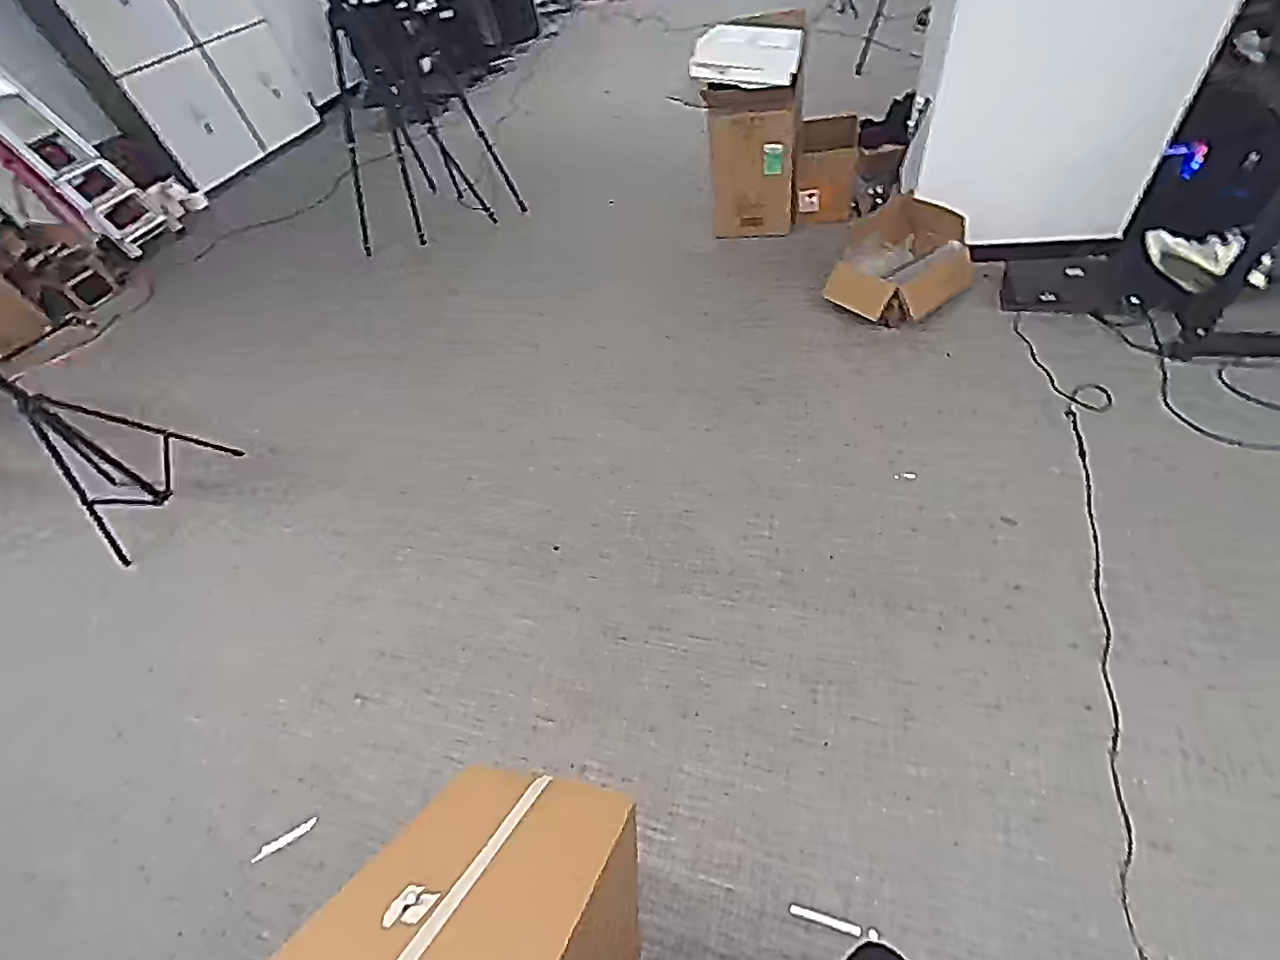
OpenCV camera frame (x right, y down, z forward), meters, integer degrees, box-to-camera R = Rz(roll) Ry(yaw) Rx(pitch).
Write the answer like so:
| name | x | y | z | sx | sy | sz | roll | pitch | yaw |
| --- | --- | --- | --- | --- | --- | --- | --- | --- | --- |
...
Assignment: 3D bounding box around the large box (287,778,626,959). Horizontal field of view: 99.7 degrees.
| name | x | y | z | sx | sy | sz | roll | pitch | yaw |
| --- | --- | --- | --- | --- | --- | --- | --- | --- | --- |
| large box | -0.221 | 0.689 | 0.725 | 0.320 | 0.320 | 0.408 | -1 | 6 | 18 |
